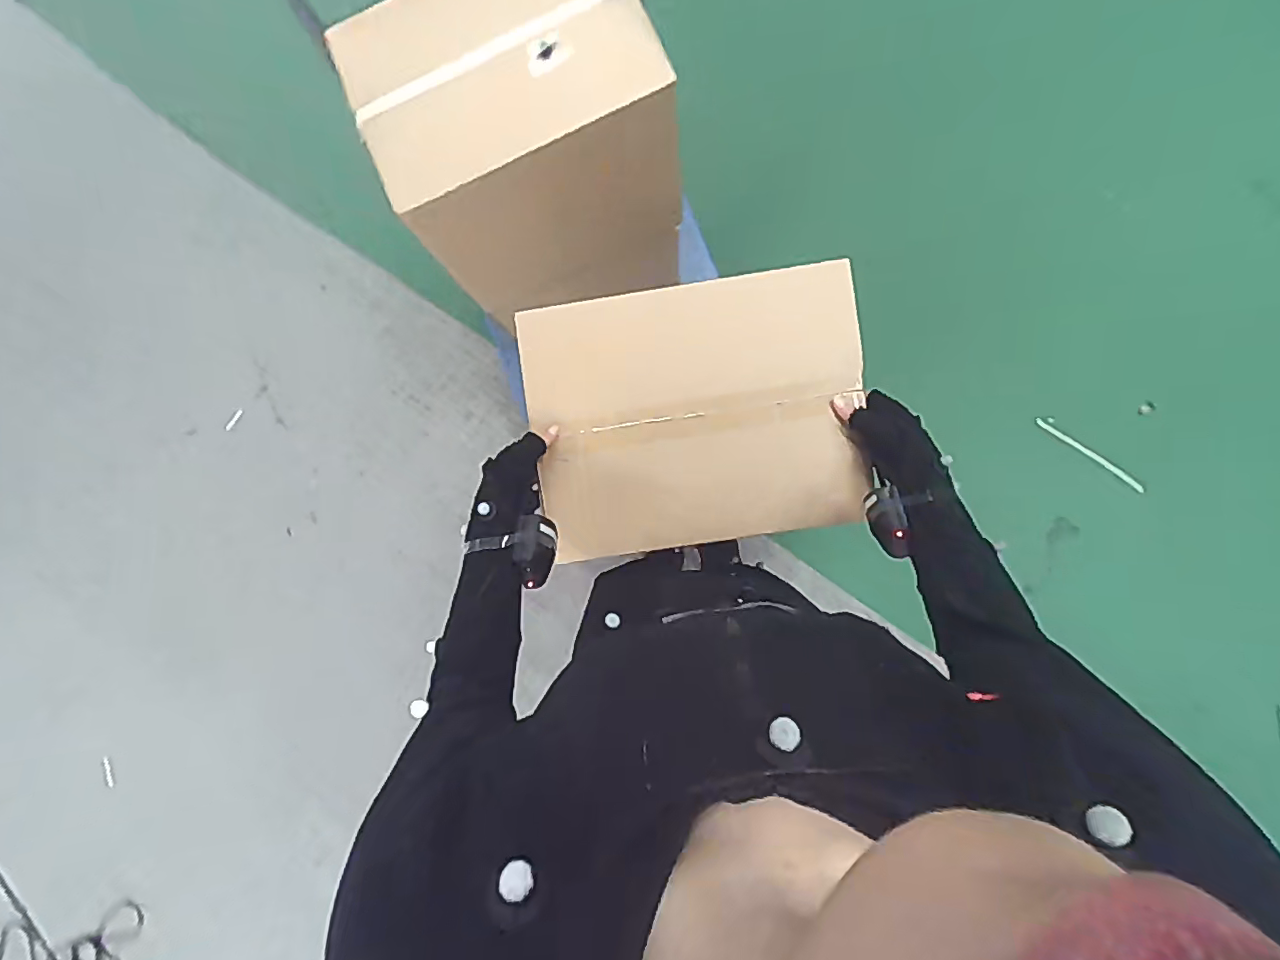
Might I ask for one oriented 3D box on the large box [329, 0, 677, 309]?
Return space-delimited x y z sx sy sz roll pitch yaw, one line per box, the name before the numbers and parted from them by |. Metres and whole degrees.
large box | -0.185 -0.546 0.868 0.408 0.320 0.320 -24 81 2
